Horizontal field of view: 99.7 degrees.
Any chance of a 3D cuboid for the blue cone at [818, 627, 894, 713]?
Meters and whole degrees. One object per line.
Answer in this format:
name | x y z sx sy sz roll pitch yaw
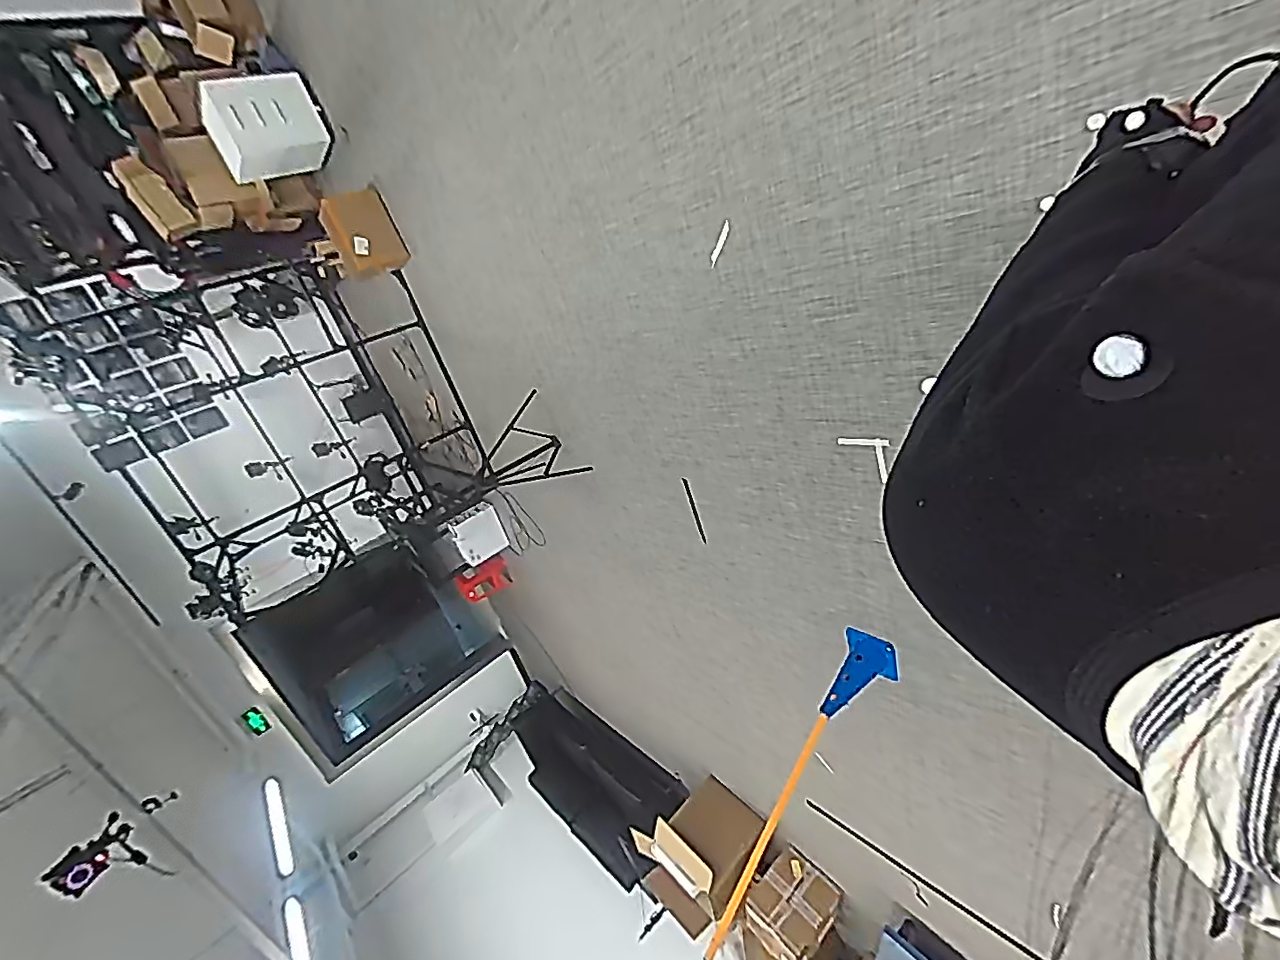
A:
blue cone | 0.801 0.760 2.072 0.193 0.380 0.192 16 130 48
